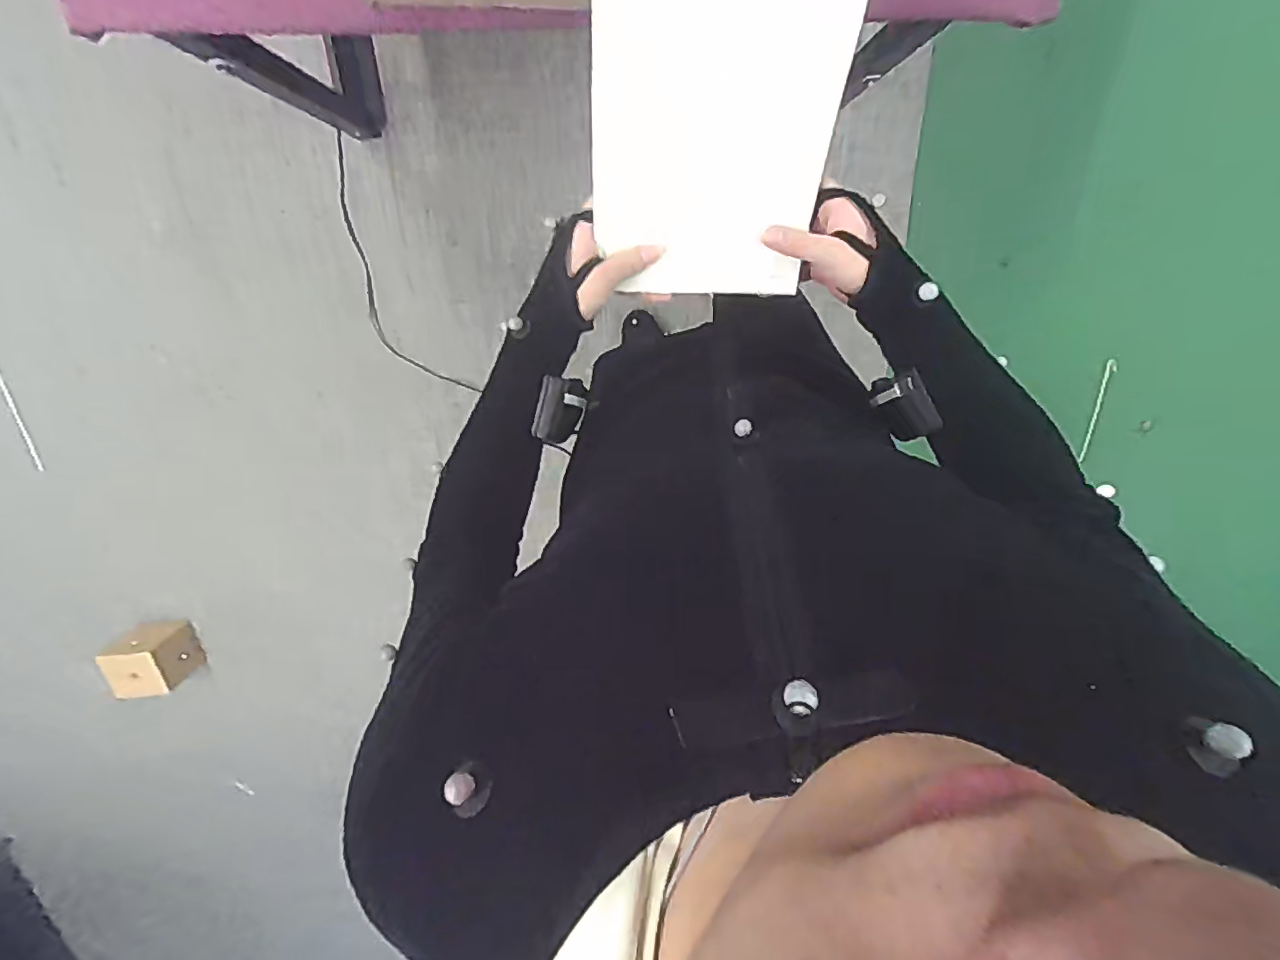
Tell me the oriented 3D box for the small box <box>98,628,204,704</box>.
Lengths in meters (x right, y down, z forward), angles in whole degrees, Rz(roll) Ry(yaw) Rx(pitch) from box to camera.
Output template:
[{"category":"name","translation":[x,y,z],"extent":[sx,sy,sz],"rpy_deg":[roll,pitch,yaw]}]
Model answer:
[{"category":"small box","translation":[-1.572,0.598,1.757],"extent":[0.179,0.176,0.168],"rpy_deg":[-5,110,1]}]
